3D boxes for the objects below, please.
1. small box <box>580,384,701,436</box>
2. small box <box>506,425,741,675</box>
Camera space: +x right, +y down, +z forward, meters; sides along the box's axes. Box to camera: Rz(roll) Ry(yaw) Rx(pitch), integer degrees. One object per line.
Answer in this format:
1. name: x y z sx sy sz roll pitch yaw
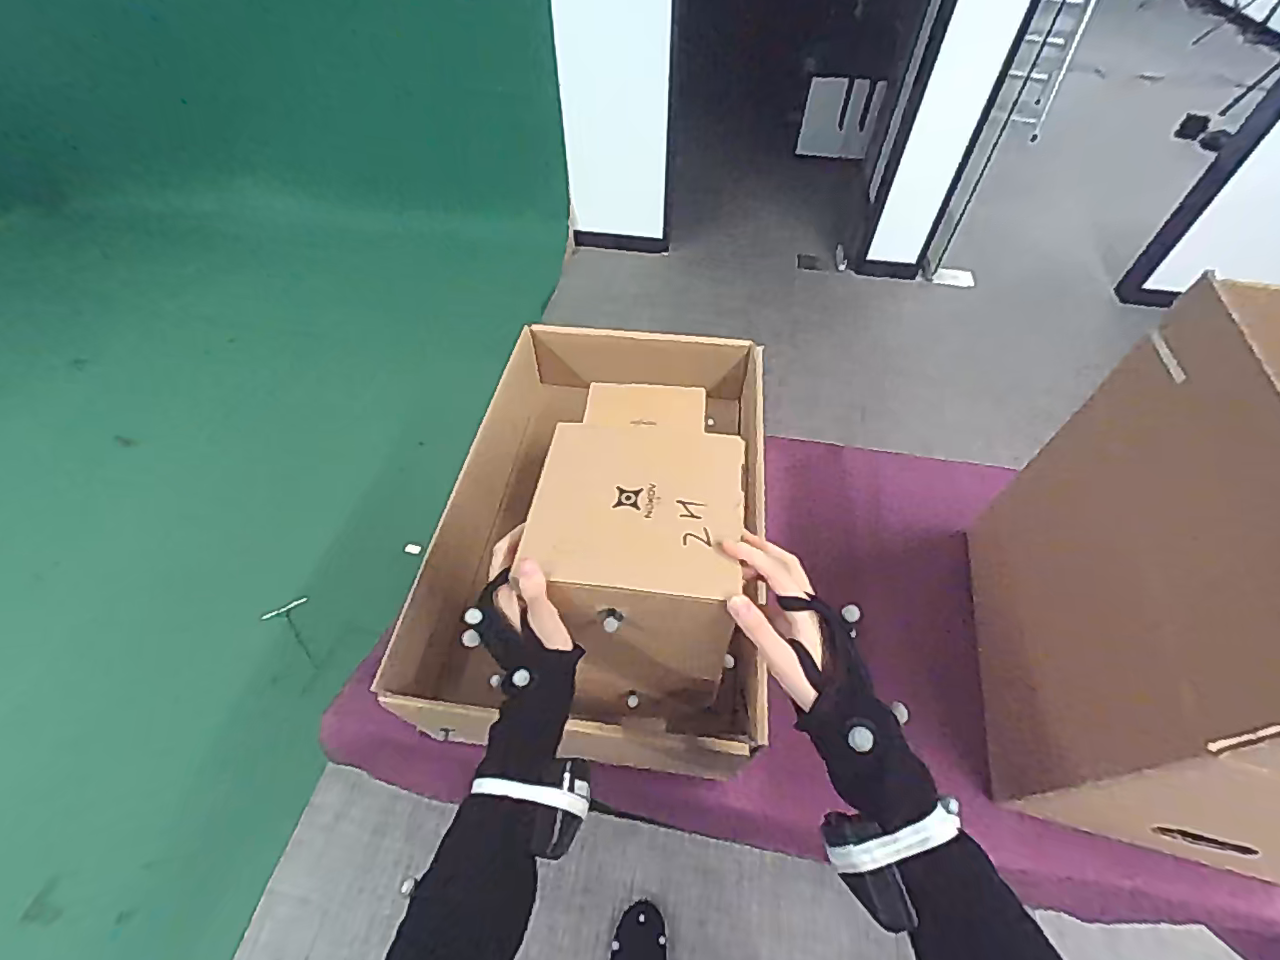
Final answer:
1. small box: 0.002 -0.018 0.787 0.168 0.176 0.179 3 53 4
2. small box: -0.004 0.070 0.510 0.179 0.176 0.168 6 53 6
